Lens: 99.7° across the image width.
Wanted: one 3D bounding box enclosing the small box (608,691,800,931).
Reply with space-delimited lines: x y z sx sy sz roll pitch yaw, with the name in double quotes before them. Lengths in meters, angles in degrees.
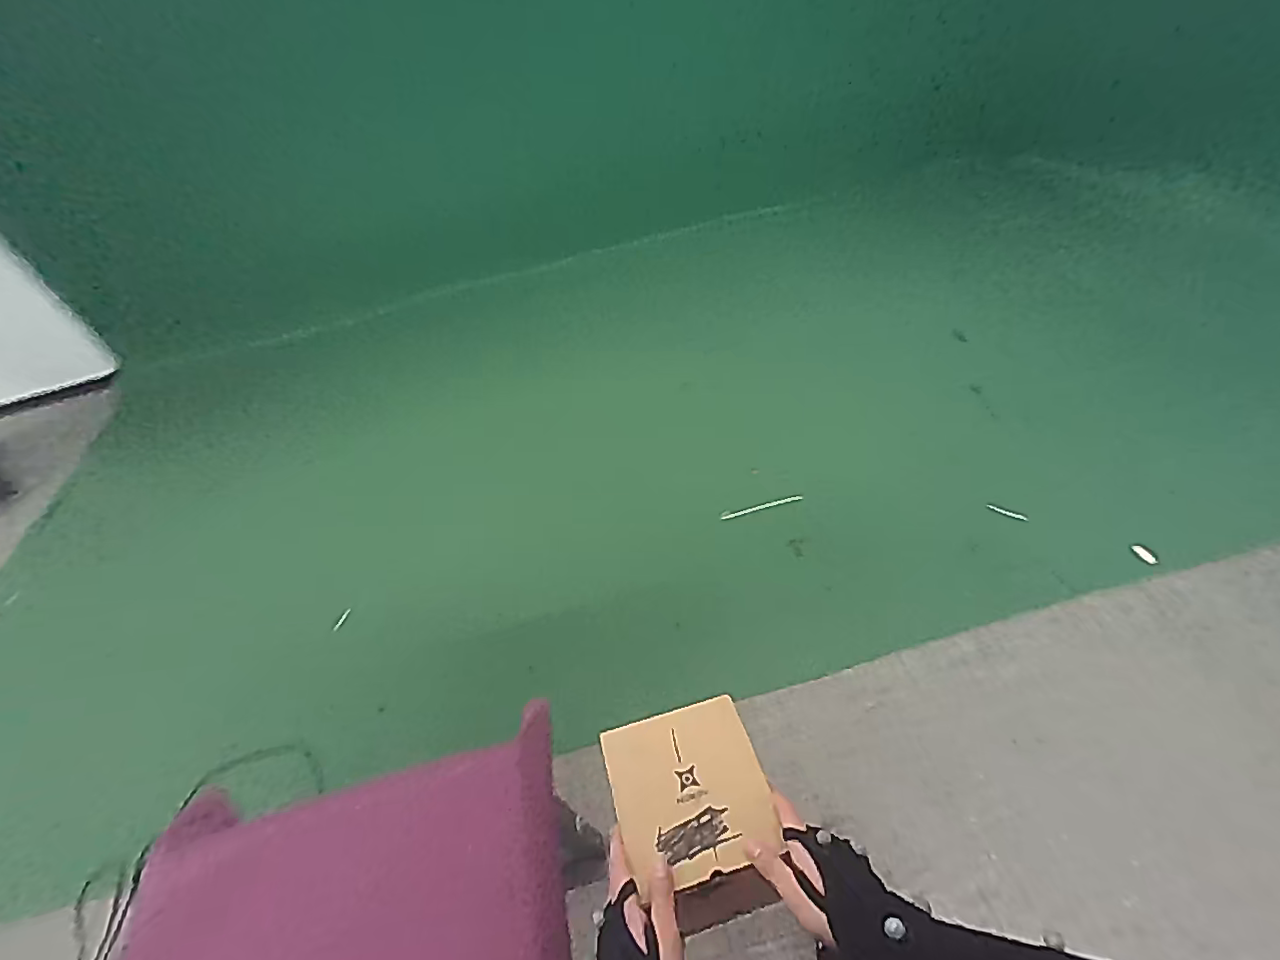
"small box" 0.067 0.383 0.625 0.168 0.176 0.179 -12 38 -8
